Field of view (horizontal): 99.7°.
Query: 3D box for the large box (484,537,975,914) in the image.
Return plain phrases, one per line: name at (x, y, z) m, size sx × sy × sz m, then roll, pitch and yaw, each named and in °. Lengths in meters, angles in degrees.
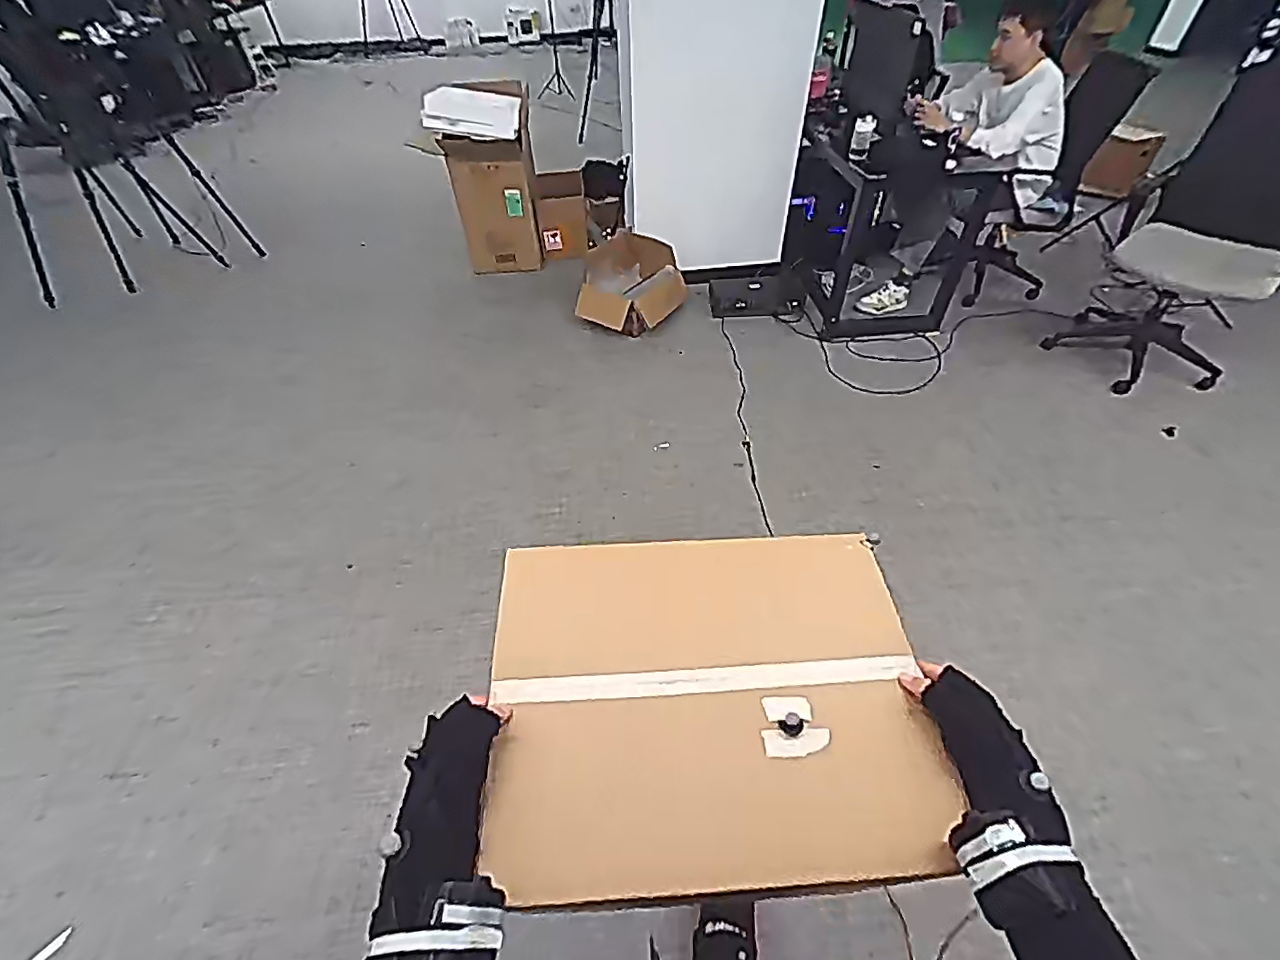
large box at (0.061, 0.287, 0.631) m, size 0.408 × 0.320 × 0.320 m, roll -2°, pitch 51°, yaw -3°
